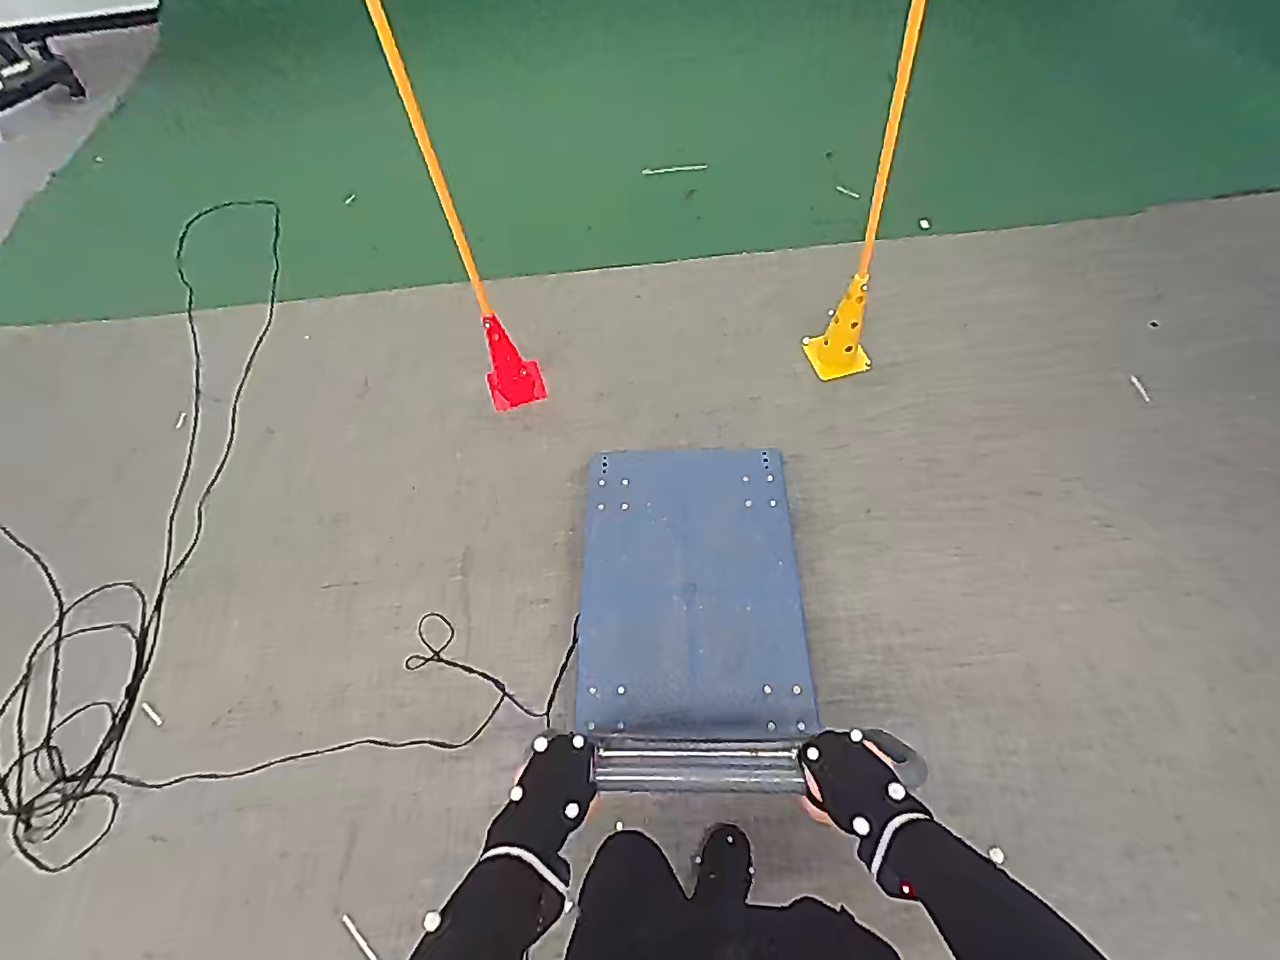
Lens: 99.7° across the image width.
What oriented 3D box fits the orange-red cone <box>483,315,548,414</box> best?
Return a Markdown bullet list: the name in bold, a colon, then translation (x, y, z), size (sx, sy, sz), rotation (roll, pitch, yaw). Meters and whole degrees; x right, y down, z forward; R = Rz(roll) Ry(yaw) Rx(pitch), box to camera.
- **orange-red cone**: translation (-0.469, -0.424, 1.873), size (0.199, 0.360, 0.198), rotation (-19, 60, -4)
